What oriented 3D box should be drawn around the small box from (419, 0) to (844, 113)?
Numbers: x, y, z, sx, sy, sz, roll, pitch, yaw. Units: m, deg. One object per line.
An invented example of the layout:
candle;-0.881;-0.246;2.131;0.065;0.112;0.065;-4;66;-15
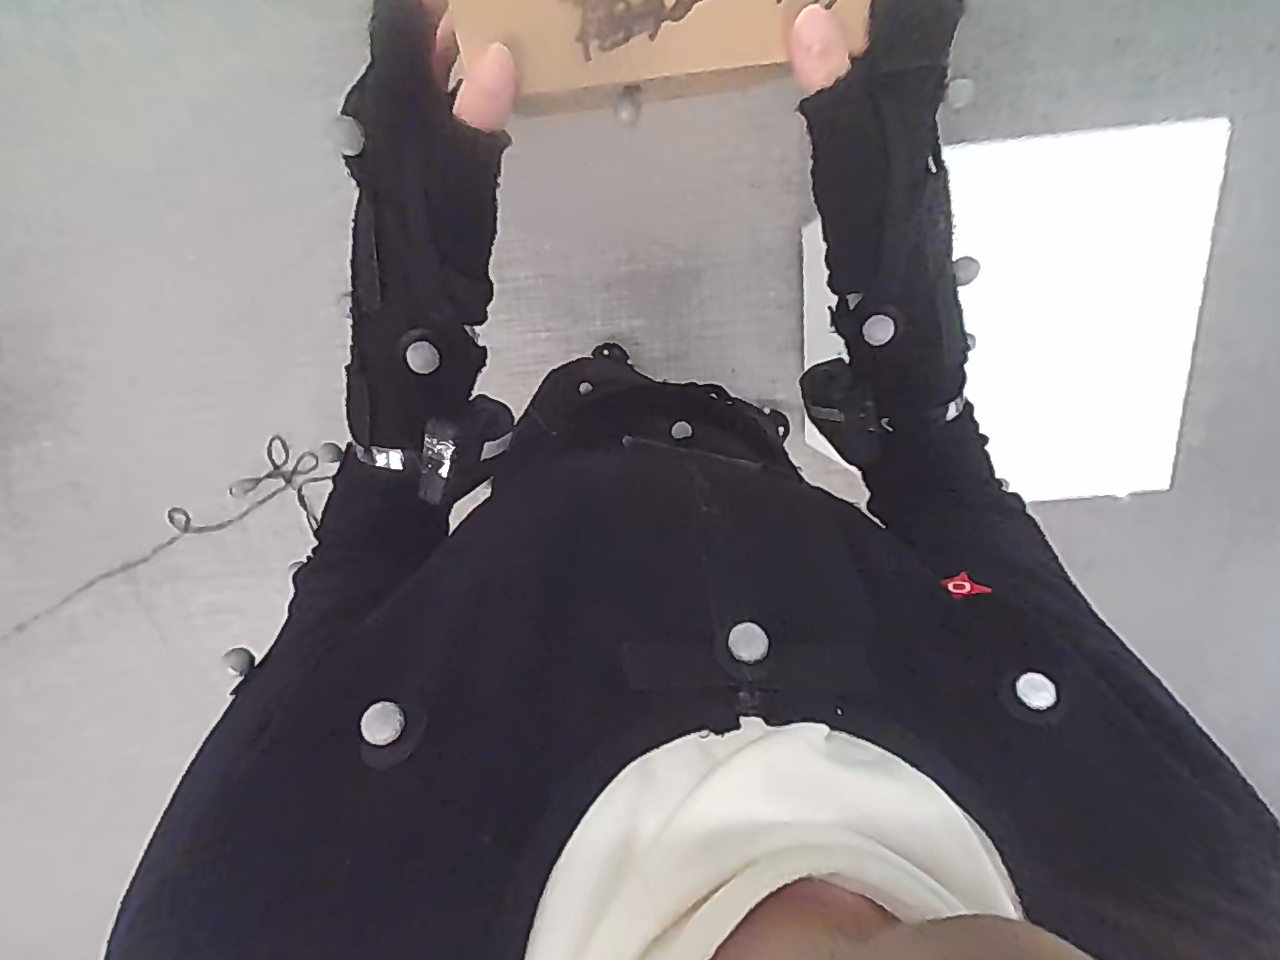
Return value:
small box;-0.016;-0.283;0.240;0.168;0.176;0.179;-8;122;0
